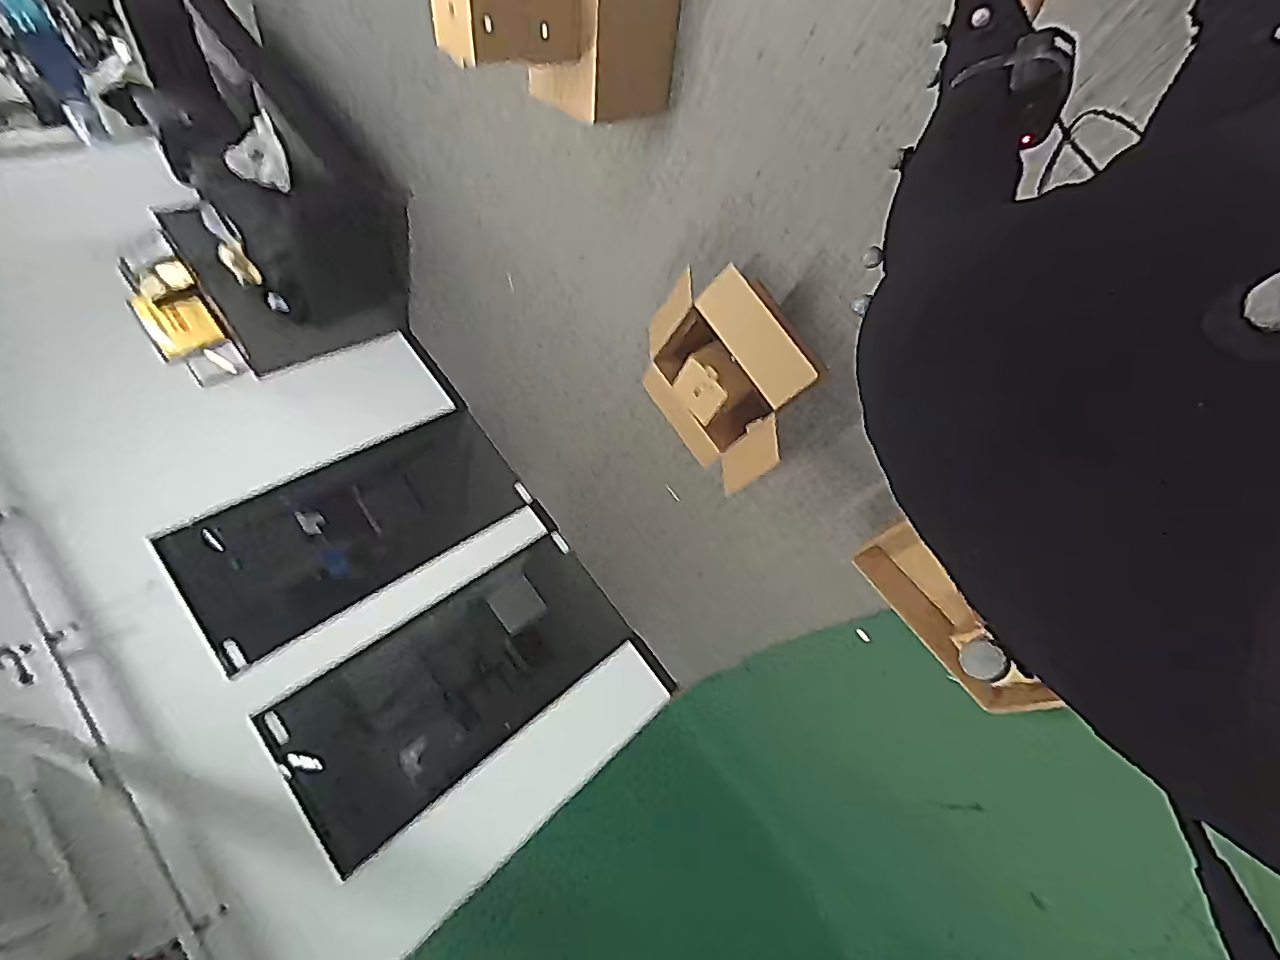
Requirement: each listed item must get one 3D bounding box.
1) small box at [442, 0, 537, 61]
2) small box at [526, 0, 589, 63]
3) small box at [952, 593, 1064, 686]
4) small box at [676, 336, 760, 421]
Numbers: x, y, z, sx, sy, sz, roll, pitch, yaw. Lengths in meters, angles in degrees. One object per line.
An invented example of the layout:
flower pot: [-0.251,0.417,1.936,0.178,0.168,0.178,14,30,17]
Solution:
small box: [-0.363,-1.154,1.314,0.168,0.176,0.179,41,145,24]
small box: [-0.249,-1.220,1.409,0.168,0.176,0.179,41,144,24]
small box: [1.041,0.451,1.529,0.179,0.176,0.168,52,149,11]
small box: [0.249,-0.323,1.712,0.168,0.176,0.179,49,148,10]
